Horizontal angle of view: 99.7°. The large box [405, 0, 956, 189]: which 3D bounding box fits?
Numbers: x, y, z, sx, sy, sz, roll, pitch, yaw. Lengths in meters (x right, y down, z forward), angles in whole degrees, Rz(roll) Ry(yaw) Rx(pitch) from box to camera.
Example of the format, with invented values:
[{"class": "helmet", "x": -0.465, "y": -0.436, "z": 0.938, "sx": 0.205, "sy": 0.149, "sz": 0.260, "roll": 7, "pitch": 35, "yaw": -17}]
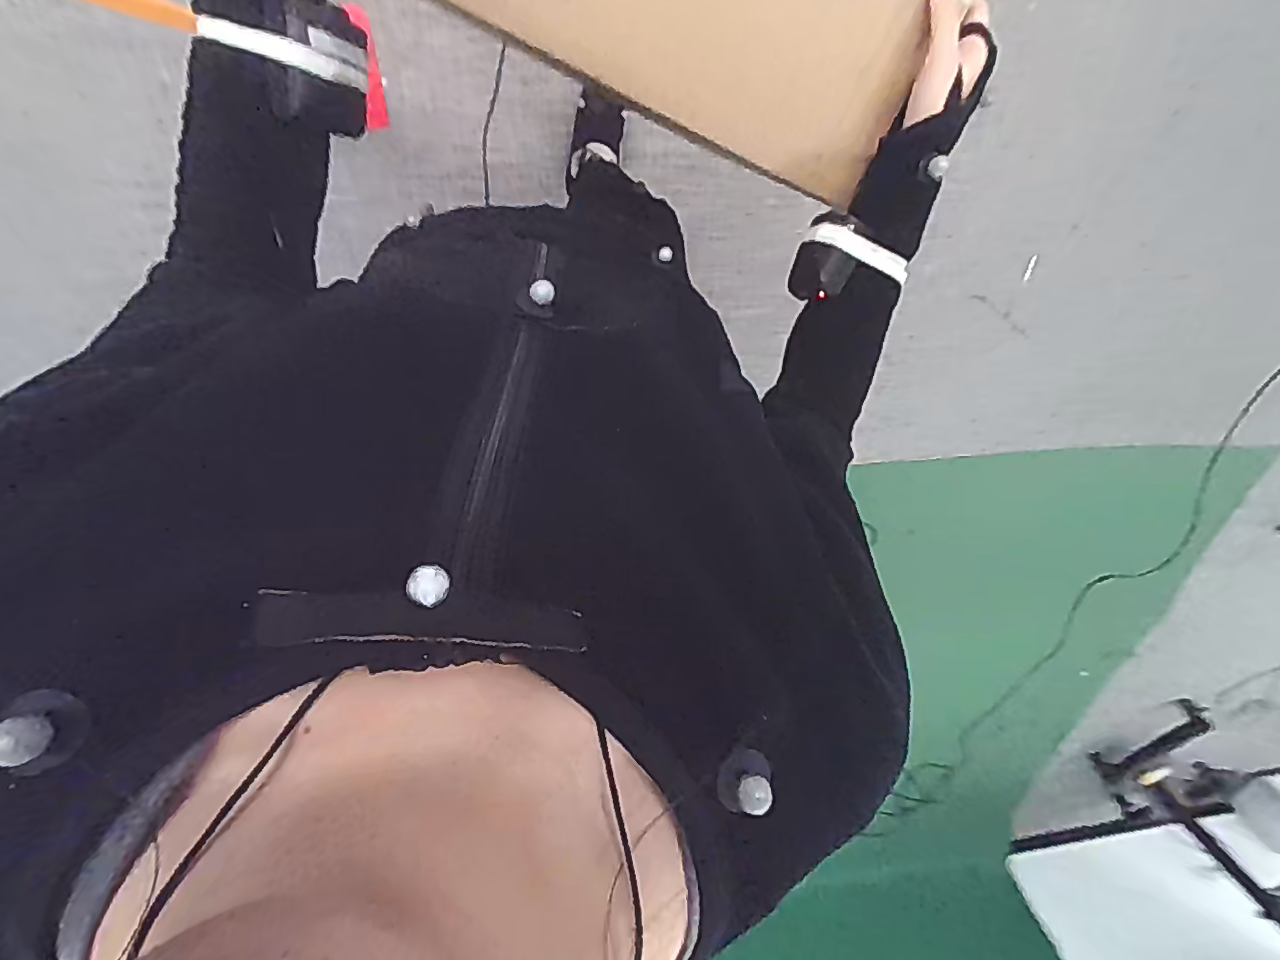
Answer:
[{"class": "large box", "x": 0.030, "y": -0.486, "z": 0.436, "sx": 0.408, "sy": 0.320, "sz": 0.320, "roll": 10, "pitch": 121, "yaw": -22}]
